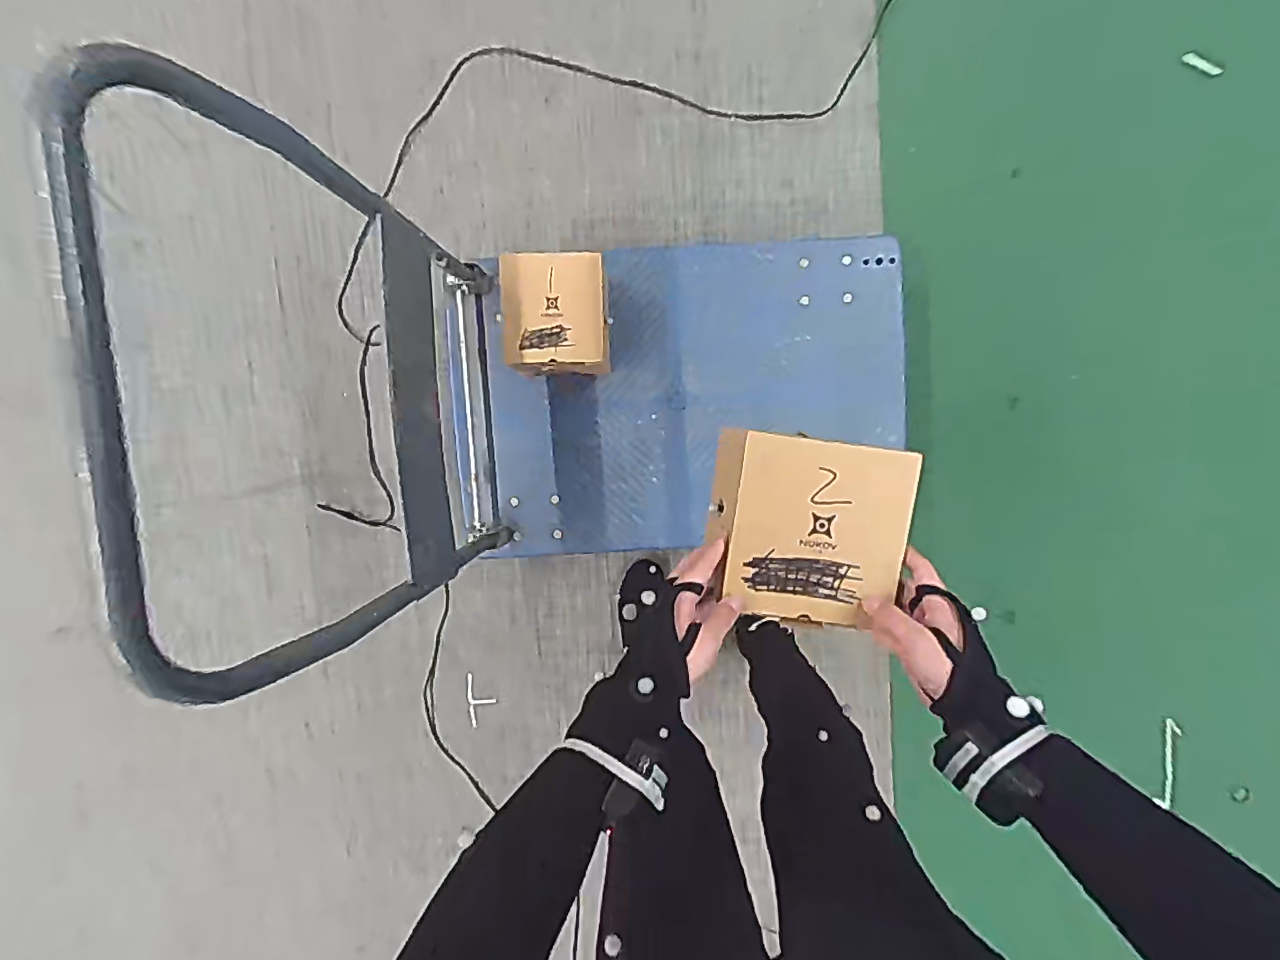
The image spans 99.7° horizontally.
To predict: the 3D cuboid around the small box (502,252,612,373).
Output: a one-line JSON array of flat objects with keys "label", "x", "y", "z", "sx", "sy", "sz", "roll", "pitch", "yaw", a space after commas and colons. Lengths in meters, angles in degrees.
[{"label": "small box", "x": -0.135, "y": -0.280, "z": 0.938, "sx": 0.168, "sy": 0.176, "sz": 0.179, "roll": -1, "pitch": 95, "yaw": 0}]
